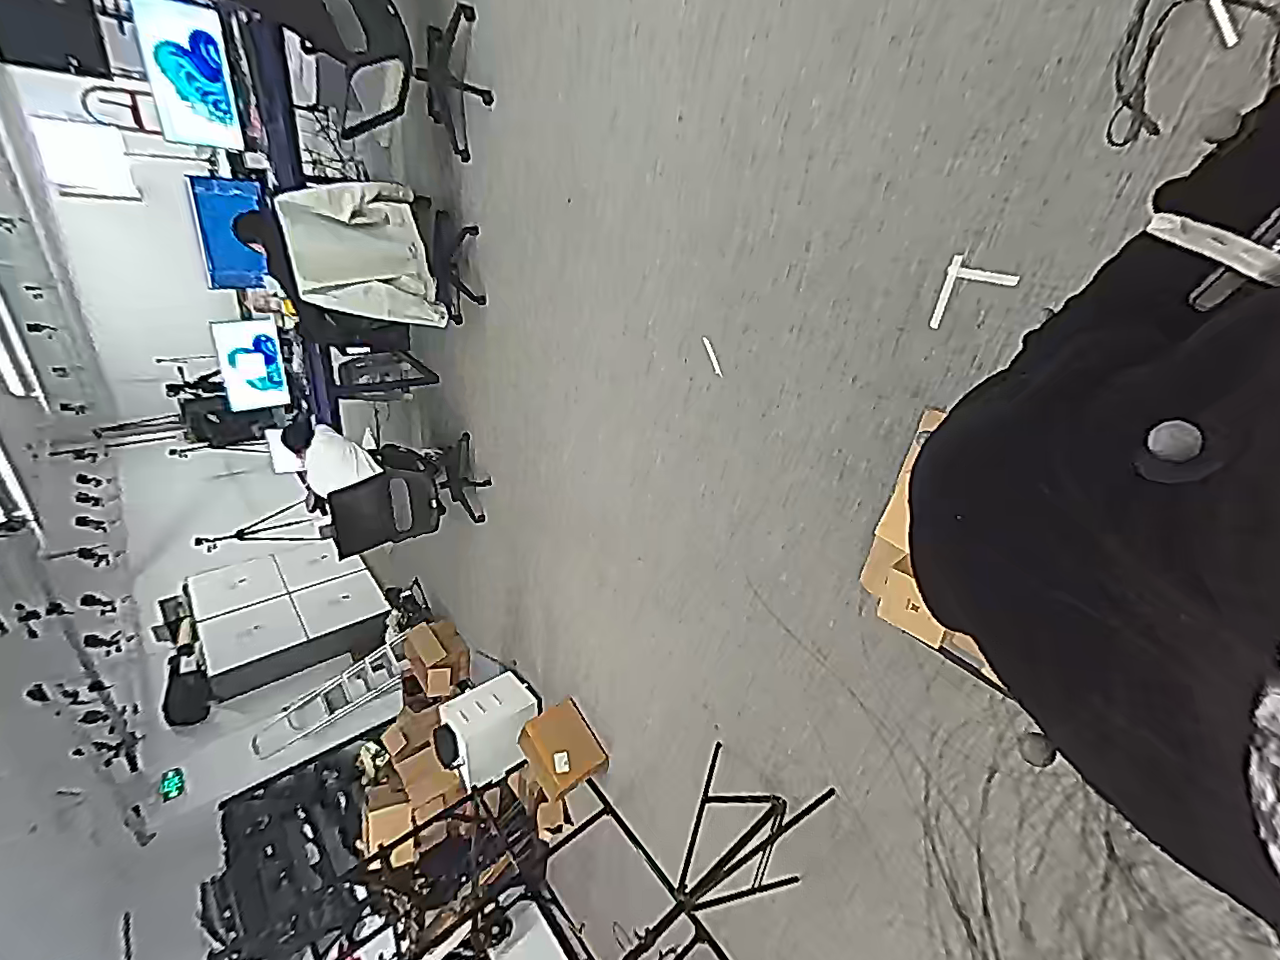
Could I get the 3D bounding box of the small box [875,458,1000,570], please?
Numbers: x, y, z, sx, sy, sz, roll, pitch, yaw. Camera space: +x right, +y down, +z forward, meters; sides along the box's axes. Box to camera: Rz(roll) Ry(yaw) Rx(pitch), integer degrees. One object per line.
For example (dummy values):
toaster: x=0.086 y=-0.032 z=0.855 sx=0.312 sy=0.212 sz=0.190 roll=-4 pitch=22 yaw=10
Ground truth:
small box: x=0.683 y=0.072 z=1.239 sx=0.168 sy=0.176 sz=0.179 roll=37 pitch=129 yaw=36

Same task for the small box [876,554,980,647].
small box: x=0.783 y=0.313 z=1.474 sx=0.179 sy=0.176 sz=0.168 roll=30 pitch=126 yaw=42
